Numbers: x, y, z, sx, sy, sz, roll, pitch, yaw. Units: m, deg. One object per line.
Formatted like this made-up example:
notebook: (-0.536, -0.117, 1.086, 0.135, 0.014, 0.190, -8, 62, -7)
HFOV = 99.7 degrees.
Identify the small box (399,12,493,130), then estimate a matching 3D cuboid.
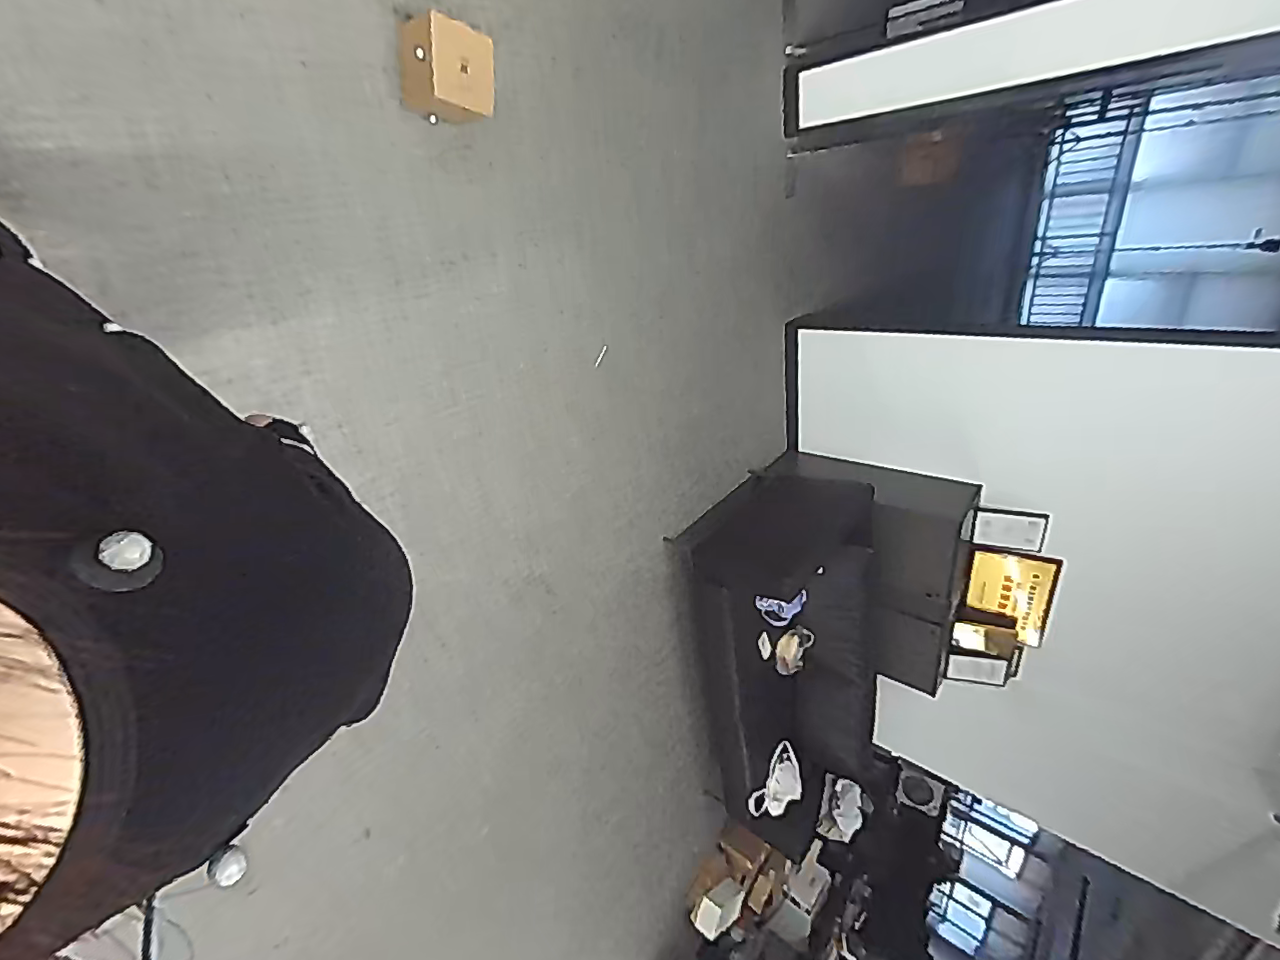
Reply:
small box: (-0.488, -1.012, 1.357, 0.168, 0.176, 0.179, -14, 114, -47)
